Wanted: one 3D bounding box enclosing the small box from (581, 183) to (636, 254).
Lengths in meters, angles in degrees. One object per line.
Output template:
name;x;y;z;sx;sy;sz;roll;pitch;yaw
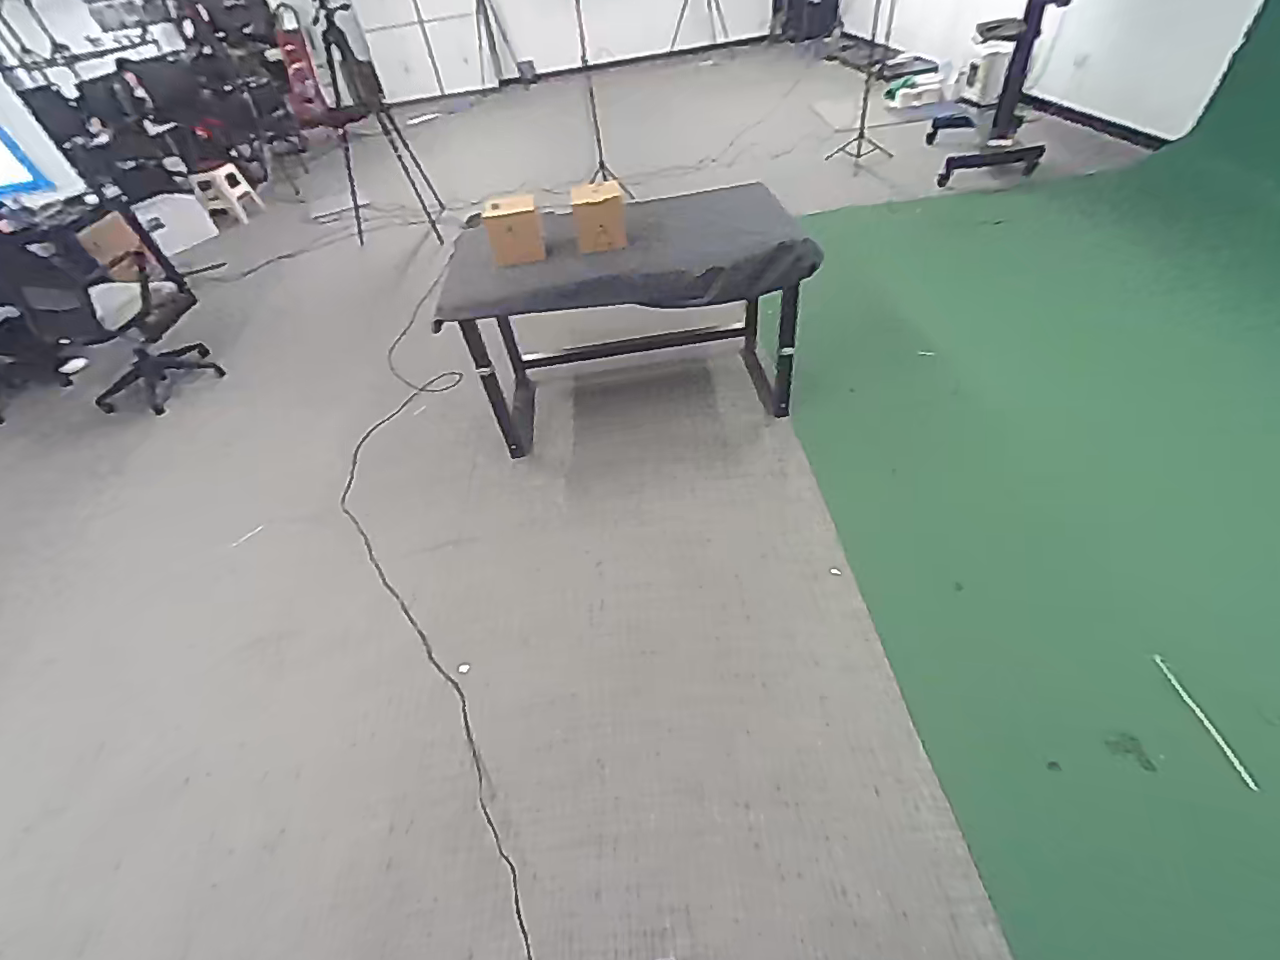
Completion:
small box;-0.109;-0.900;1.876;0.168;0.176;0.179;-8;45;2

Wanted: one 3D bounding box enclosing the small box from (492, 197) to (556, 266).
small box;-0.399;-0.862;1.885;0.179;0.176;0.168;-9;45;-1
